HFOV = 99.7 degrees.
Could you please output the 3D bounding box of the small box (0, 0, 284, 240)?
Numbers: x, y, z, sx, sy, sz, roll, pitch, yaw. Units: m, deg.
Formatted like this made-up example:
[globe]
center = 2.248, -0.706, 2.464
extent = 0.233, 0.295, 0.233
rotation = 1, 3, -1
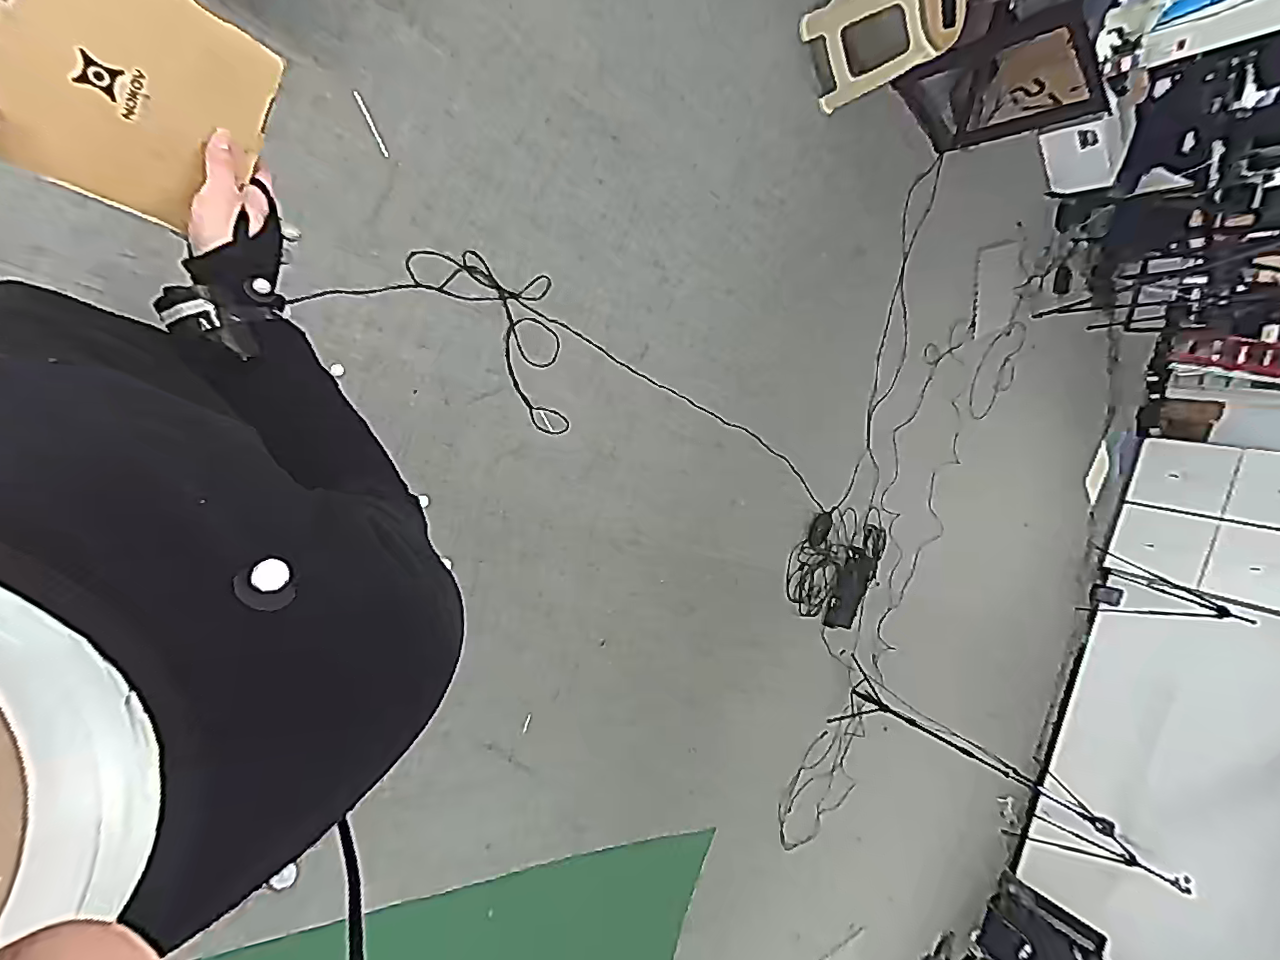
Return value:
[small box]
center = -0.433, -0.331, 0.436
extent = 0.179, 0.176, 0.168
rotation = 12, 110, -54
